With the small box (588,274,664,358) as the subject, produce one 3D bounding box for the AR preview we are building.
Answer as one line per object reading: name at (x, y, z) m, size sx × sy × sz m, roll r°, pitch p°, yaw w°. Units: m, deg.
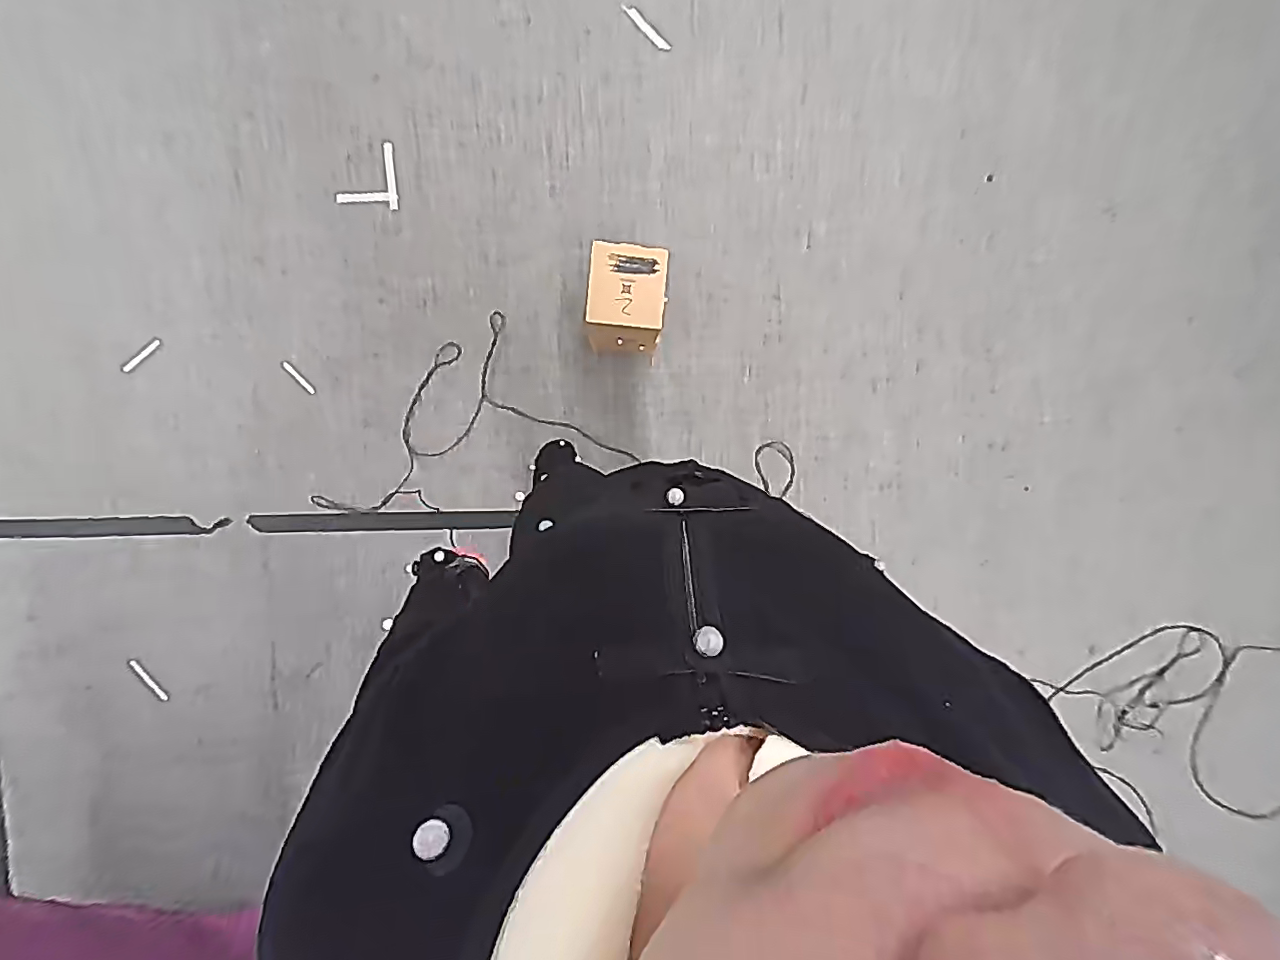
small box at (-0.038, -0.419, 1.402) m, size 0.179 × 0.176 × 0.168 m, roll 4°, pitch 92°, yaw -4°
